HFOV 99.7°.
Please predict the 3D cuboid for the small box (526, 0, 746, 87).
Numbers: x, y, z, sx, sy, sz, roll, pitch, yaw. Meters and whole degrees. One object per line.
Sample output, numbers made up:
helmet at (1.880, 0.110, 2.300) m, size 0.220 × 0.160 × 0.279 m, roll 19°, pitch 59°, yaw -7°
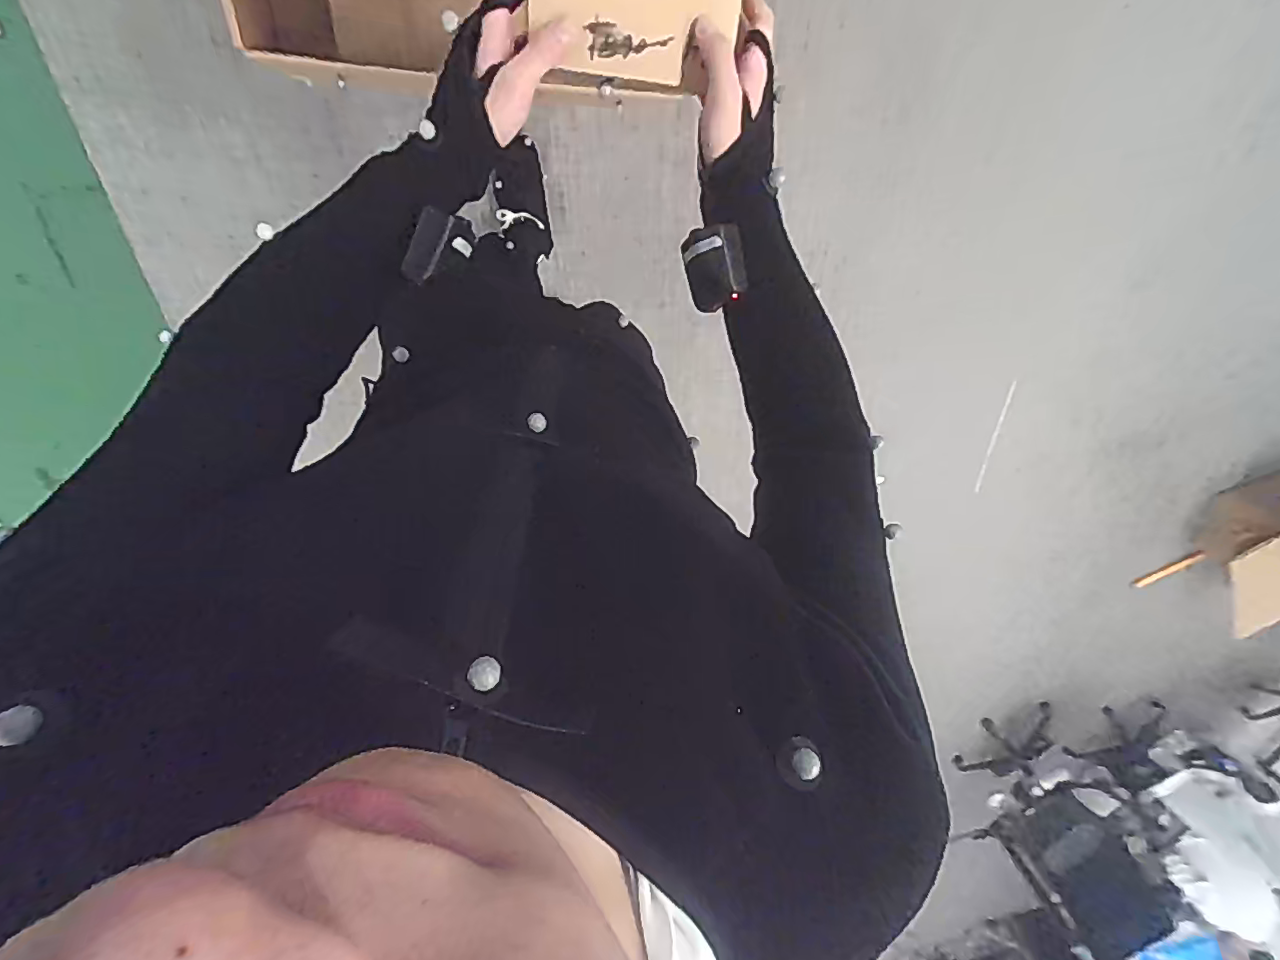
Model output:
small box at (-0.009, -0.446, 0.448) m, size 0.168 × 0.176 × 0.179 m, roll -1°, pitch 125°, yaw -12°
